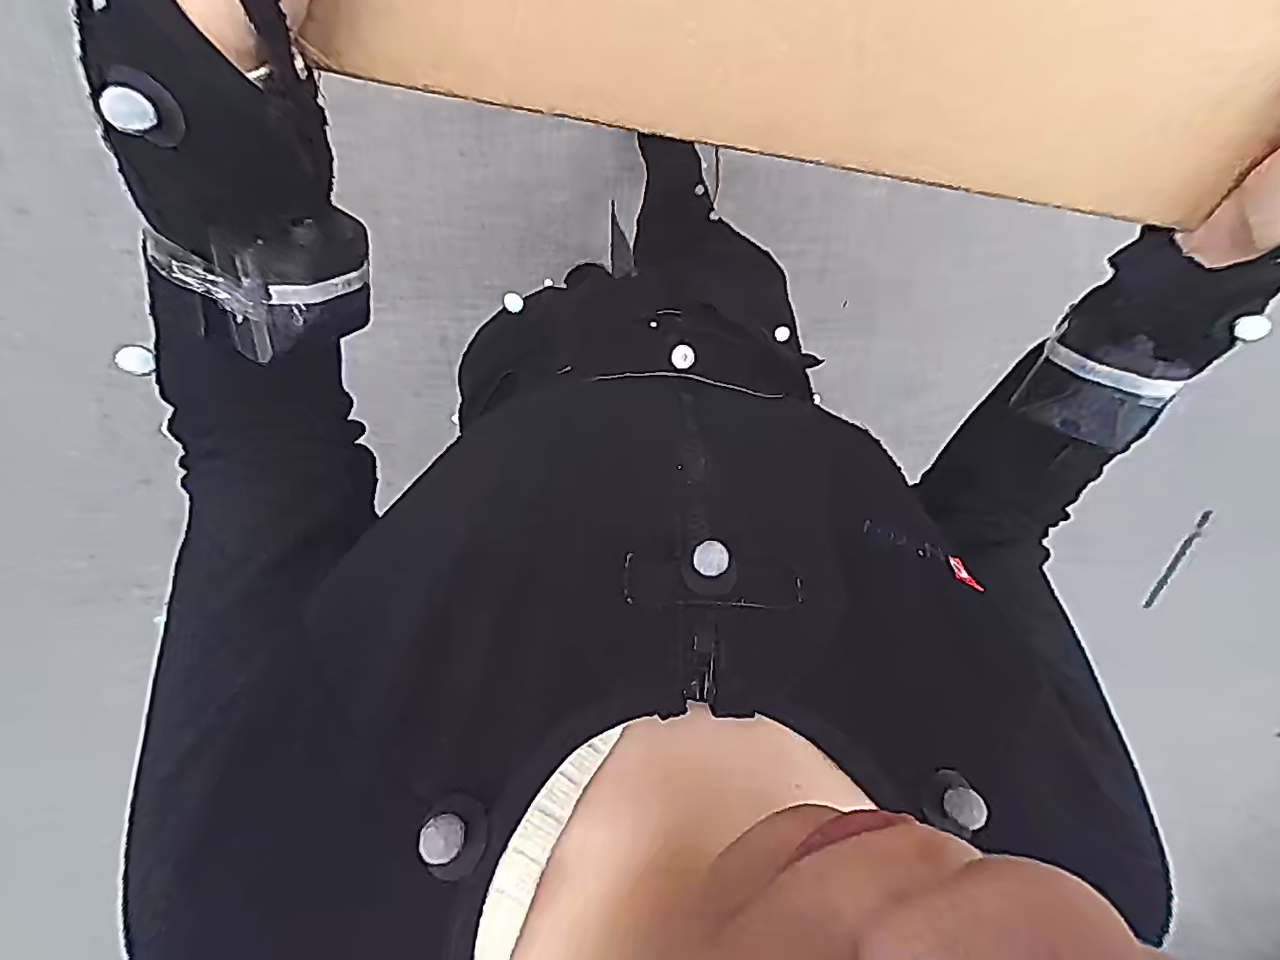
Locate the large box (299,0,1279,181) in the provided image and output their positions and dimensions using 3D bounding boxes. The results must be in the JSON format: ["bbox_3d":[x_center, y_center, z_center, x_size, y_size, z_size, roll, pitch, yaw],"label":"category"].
[{"bbox_3d":[0.081,-0.367,0.231,0.408,0.320,0.320,4,135,-9],"label":"large box"}]
